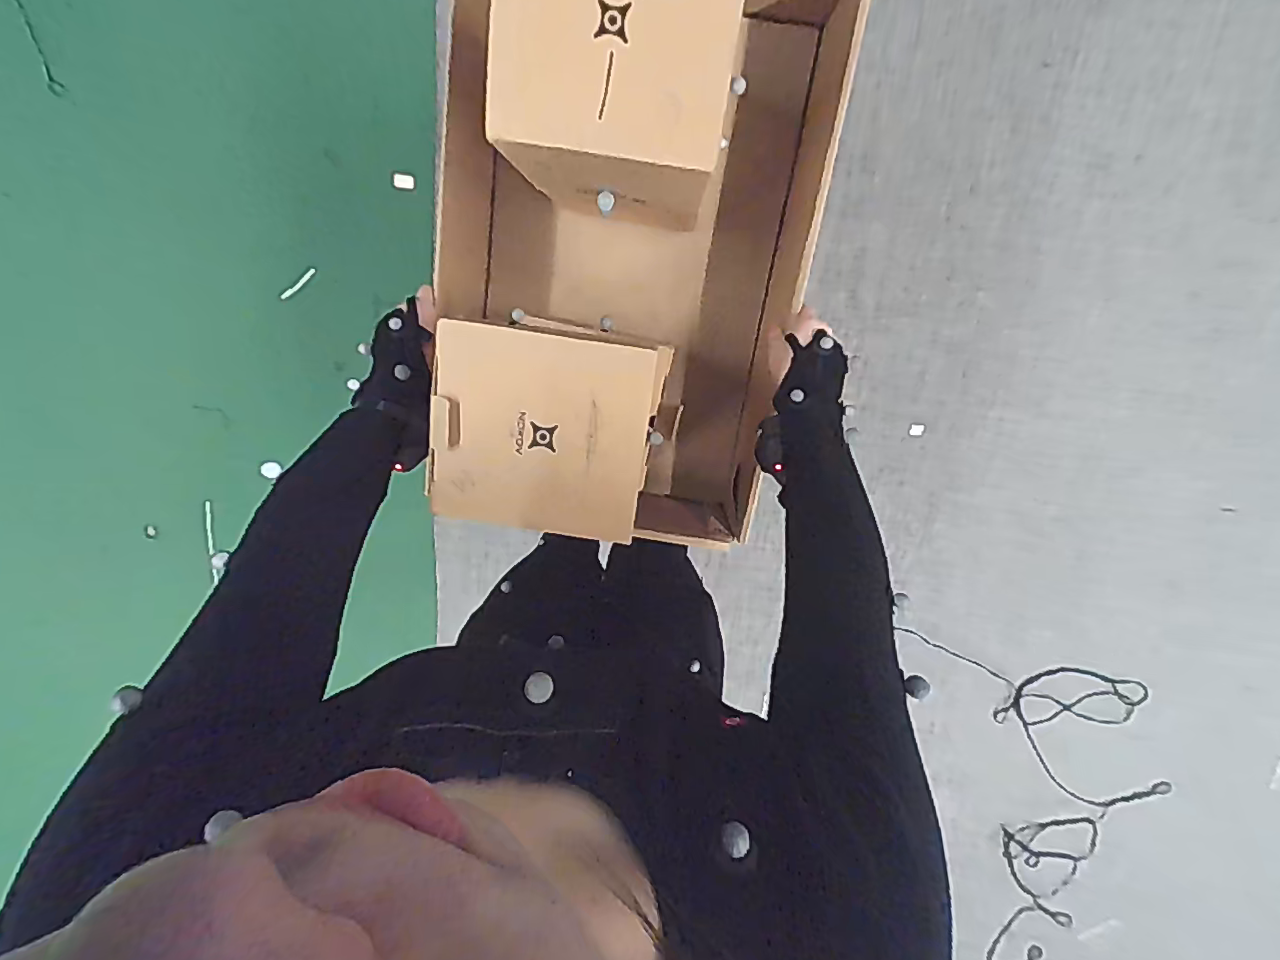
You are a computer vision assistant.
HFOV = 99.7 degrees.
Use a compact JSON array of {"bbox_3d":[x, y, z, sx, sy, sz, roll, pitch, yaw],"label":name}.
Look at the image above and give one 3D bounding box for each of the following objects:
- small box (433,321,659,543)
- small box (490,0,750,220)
[{"bbox_3d":[-0.080,-0.057,0.524,0.179,0.176,0.168,8,107,-2],"label":"small box"},{"bbox_3d":[-0.011,-0.328,0.438,0.168,0.176,0.179,9,108,-1],"label":"small box"}]
